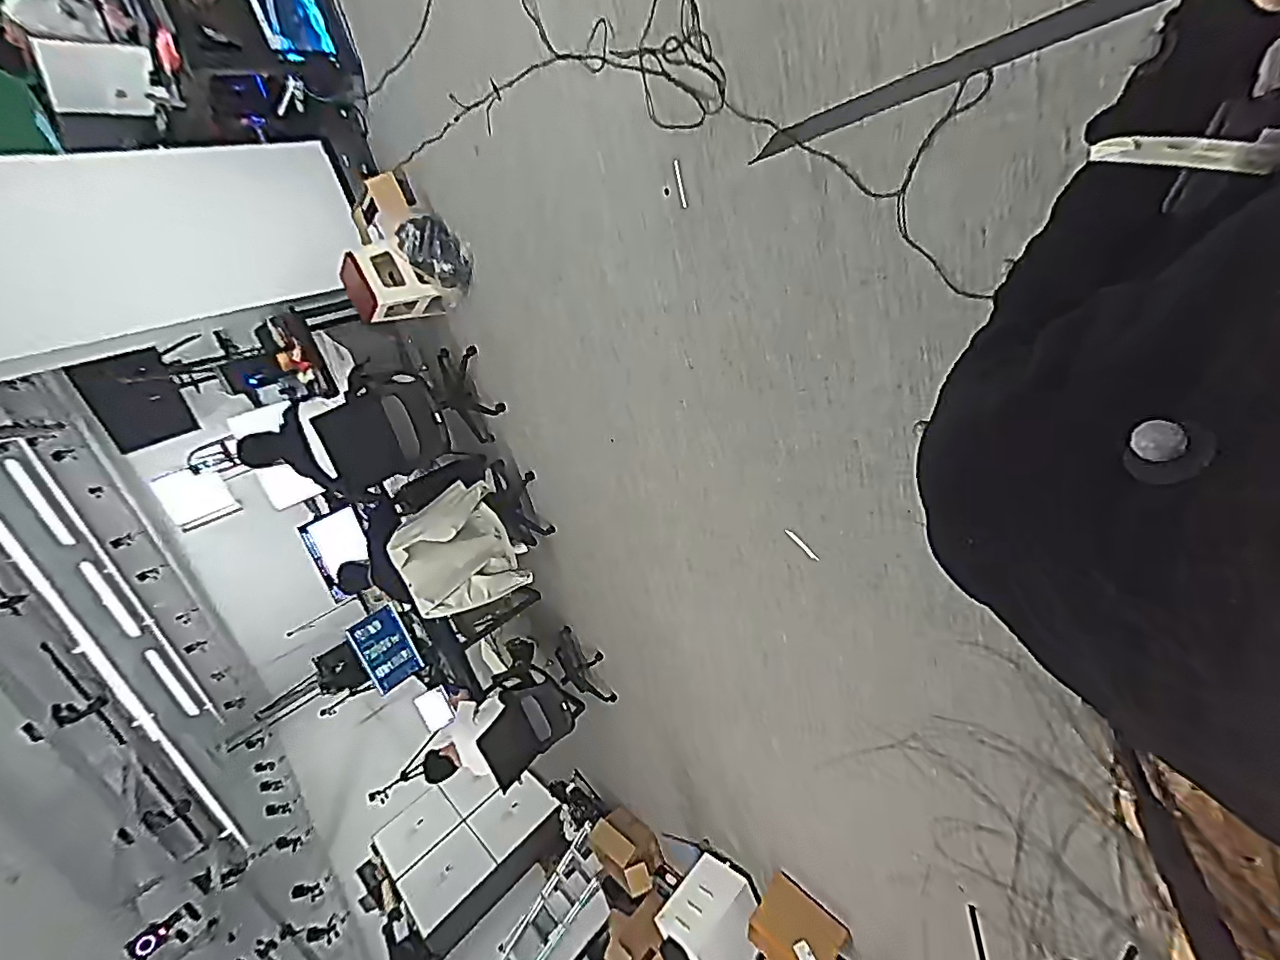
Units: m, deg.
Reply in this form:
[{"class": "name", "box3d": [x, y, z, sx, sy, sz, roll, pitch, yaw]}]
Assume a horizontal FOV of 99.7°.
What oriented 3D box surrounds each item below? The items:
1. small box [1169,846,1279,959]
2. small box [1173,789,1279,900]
[{"class": "small box", "box3d": [1.071, 0.815, 0.961, 0.168, 0.176, 0.179, 8, 119, 48]}, {"class": "small box", "box3d": [1.184, 0.754, 1.060, 0.179, 0.176, 0.168, 7, 119, 49]}]
